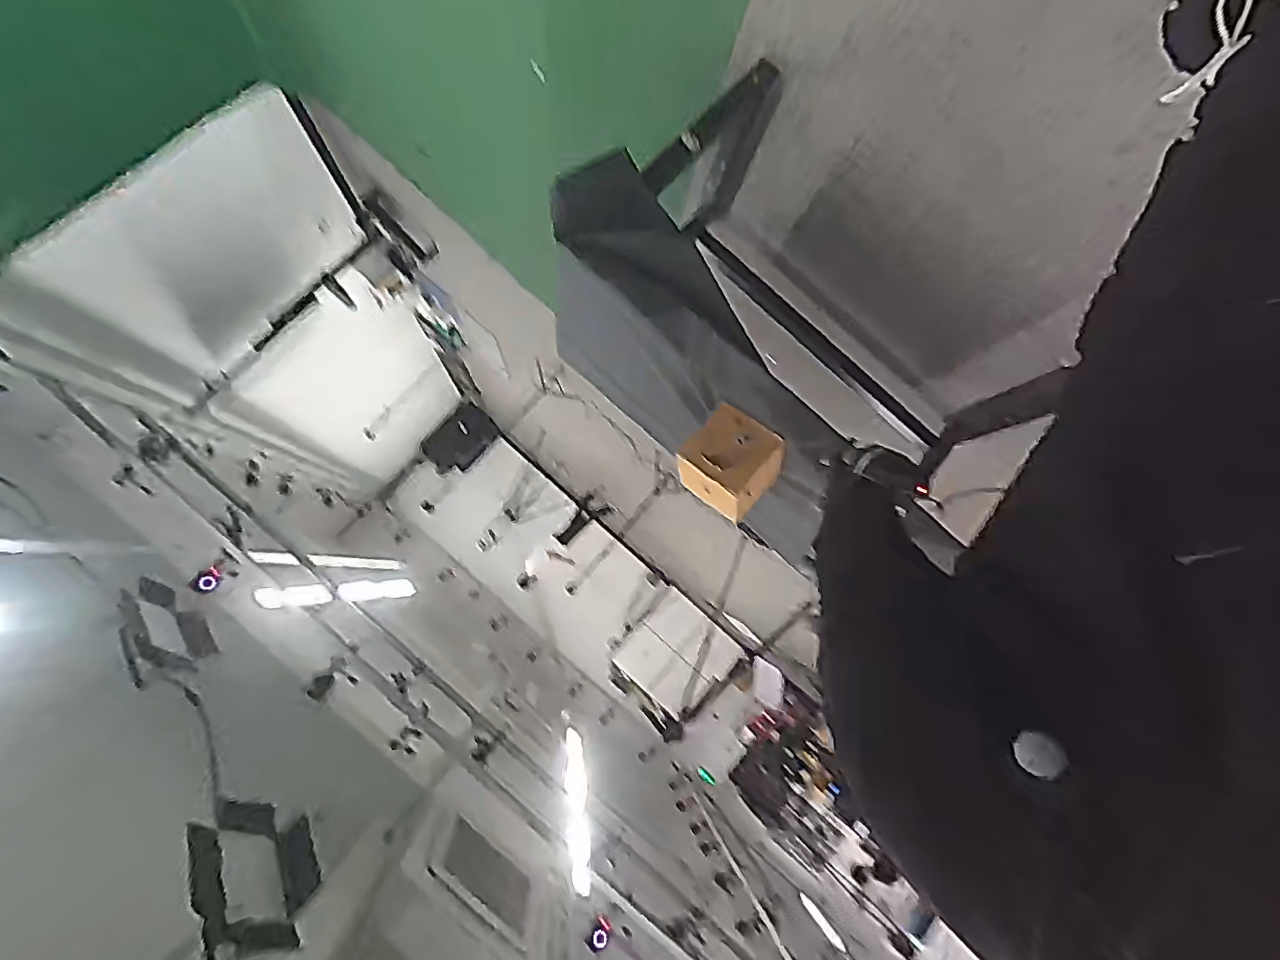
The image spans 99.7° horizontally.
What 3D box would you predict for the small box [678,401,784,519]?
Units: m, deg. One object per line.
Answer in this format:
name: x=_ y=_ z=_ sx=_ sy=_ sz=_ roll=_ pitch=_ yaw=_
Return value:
small box: x=0.209 y=-0.045 z=1.230 sx=0.168 sy=0.176 sz=0.179 roll=37 pitch=167 yaw=22
